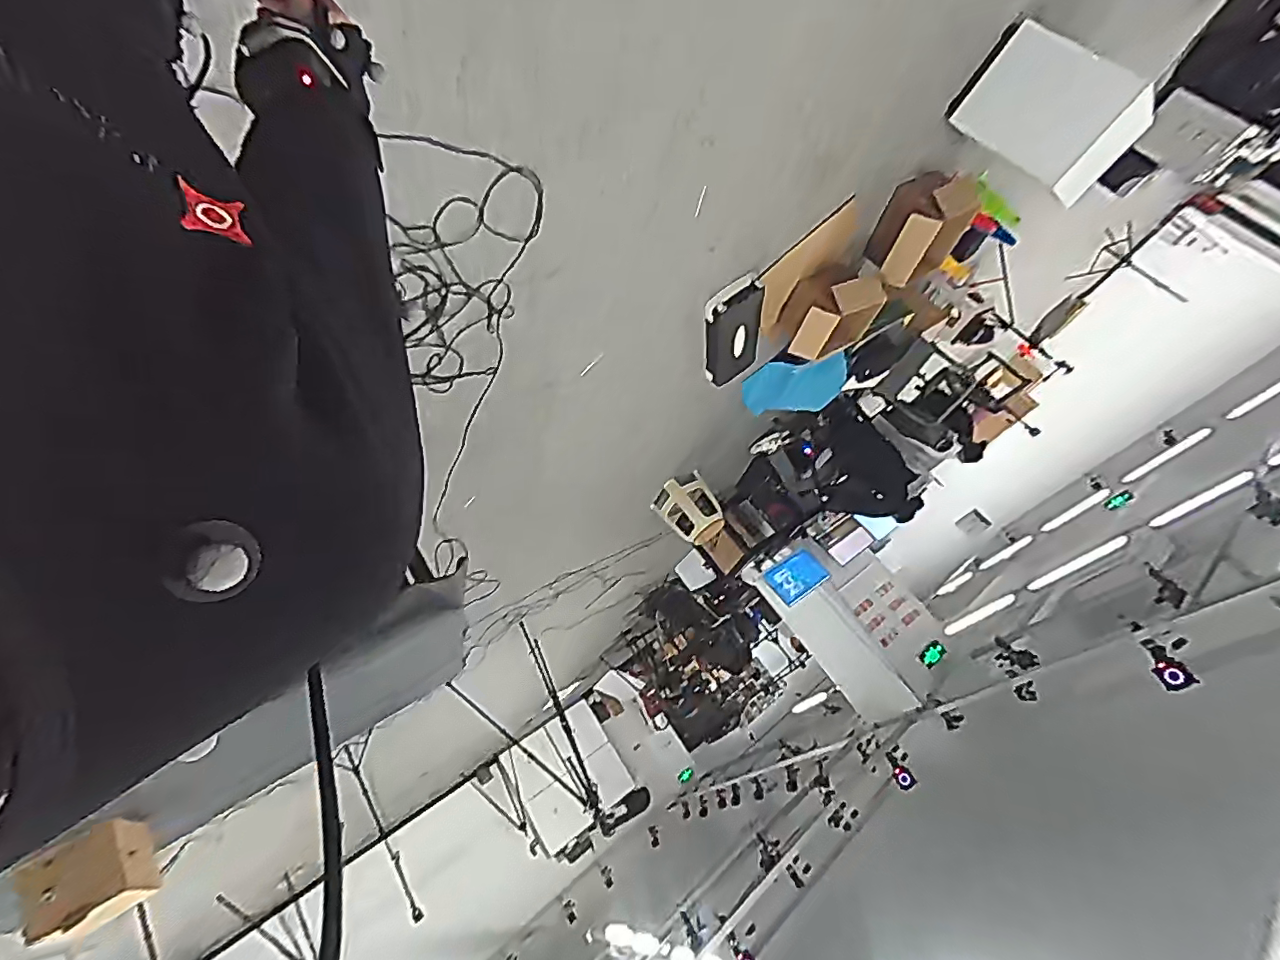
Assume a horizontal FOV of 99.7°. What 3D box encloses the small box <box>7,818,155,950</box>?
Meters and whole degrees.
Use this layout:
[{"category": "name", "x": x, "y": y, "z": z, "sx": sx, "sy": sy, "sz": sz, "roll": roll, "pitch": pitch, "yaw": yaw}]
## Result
[{"category": "small box", "x": -1.240, "y": 0.888, "z": 1.204, "sx": 0.168, "sy": 0.176, "sz": 0.179, "roll": -24, "pitch": 157, "yaw": -30}]
